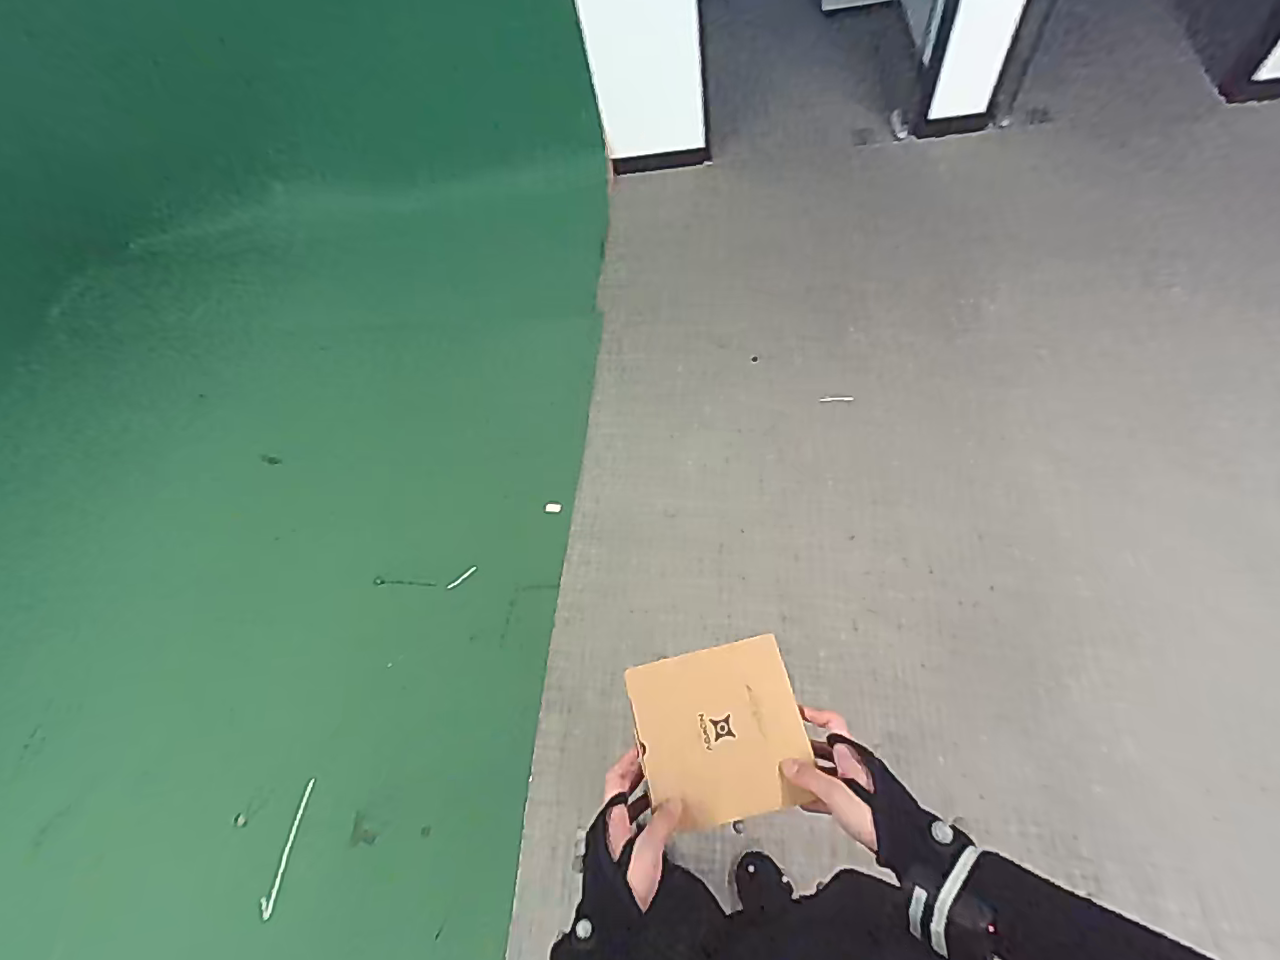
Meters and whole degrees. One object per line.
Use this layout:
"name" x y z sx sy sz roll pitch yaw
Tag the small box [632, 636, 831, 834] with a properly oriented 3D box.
"small box" 0.099 0.299 0.638 0.179 0.176 0.168 -13 62 0
